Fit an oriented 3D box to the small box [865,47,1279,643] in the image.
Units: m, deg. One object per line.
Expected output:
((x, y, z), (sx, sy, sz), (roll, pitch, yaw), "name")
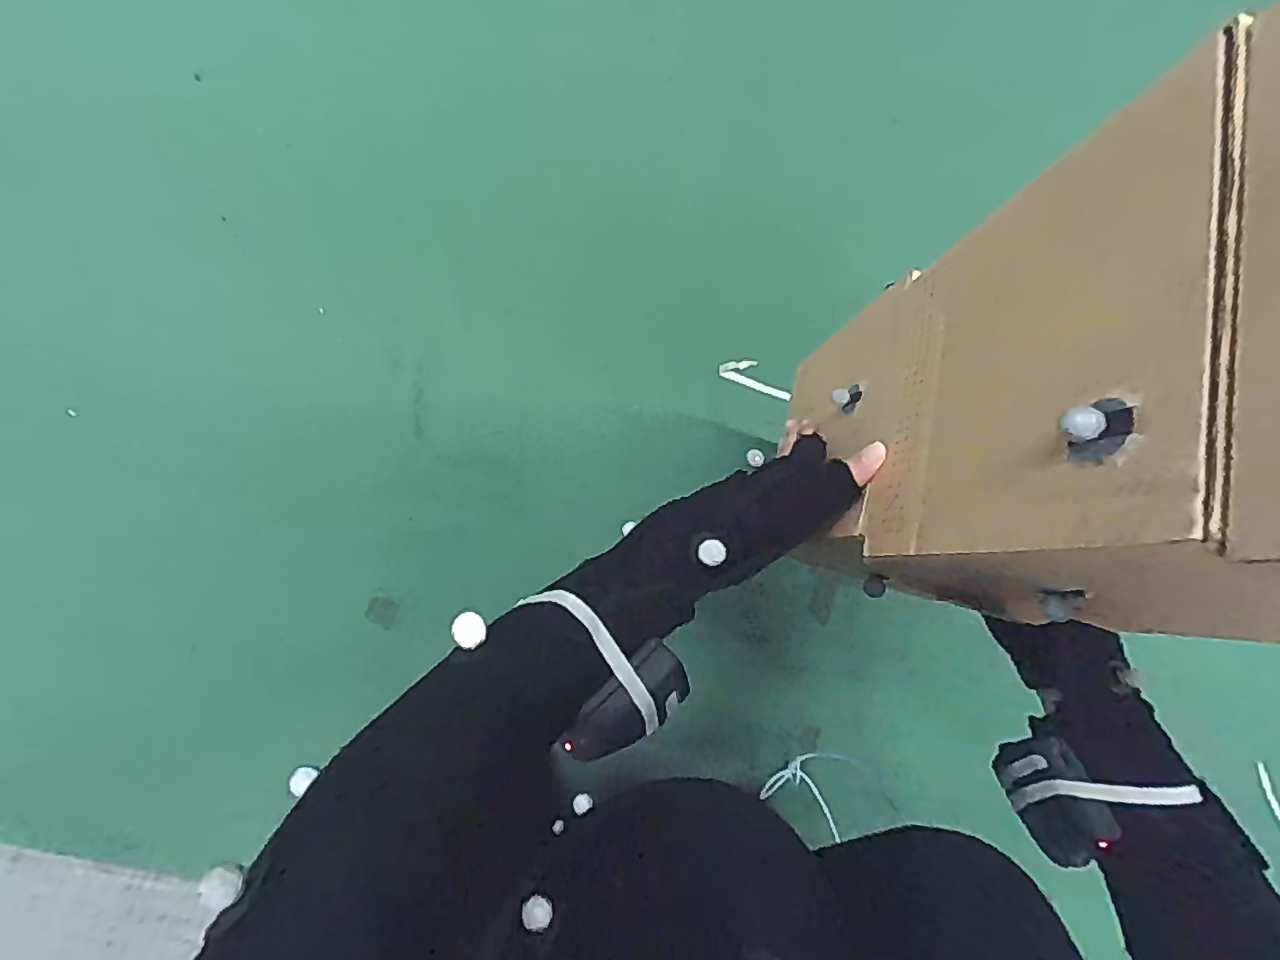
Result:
((0.230, -0.030, 0.251), (0.168, 0.176, 0.179), (14, 80, -6), "small box")

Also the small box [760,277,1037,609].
((0.208, -0.013, 0.412), (0.168, 0.176, 0.179), (17, 80, -5), "small box")
